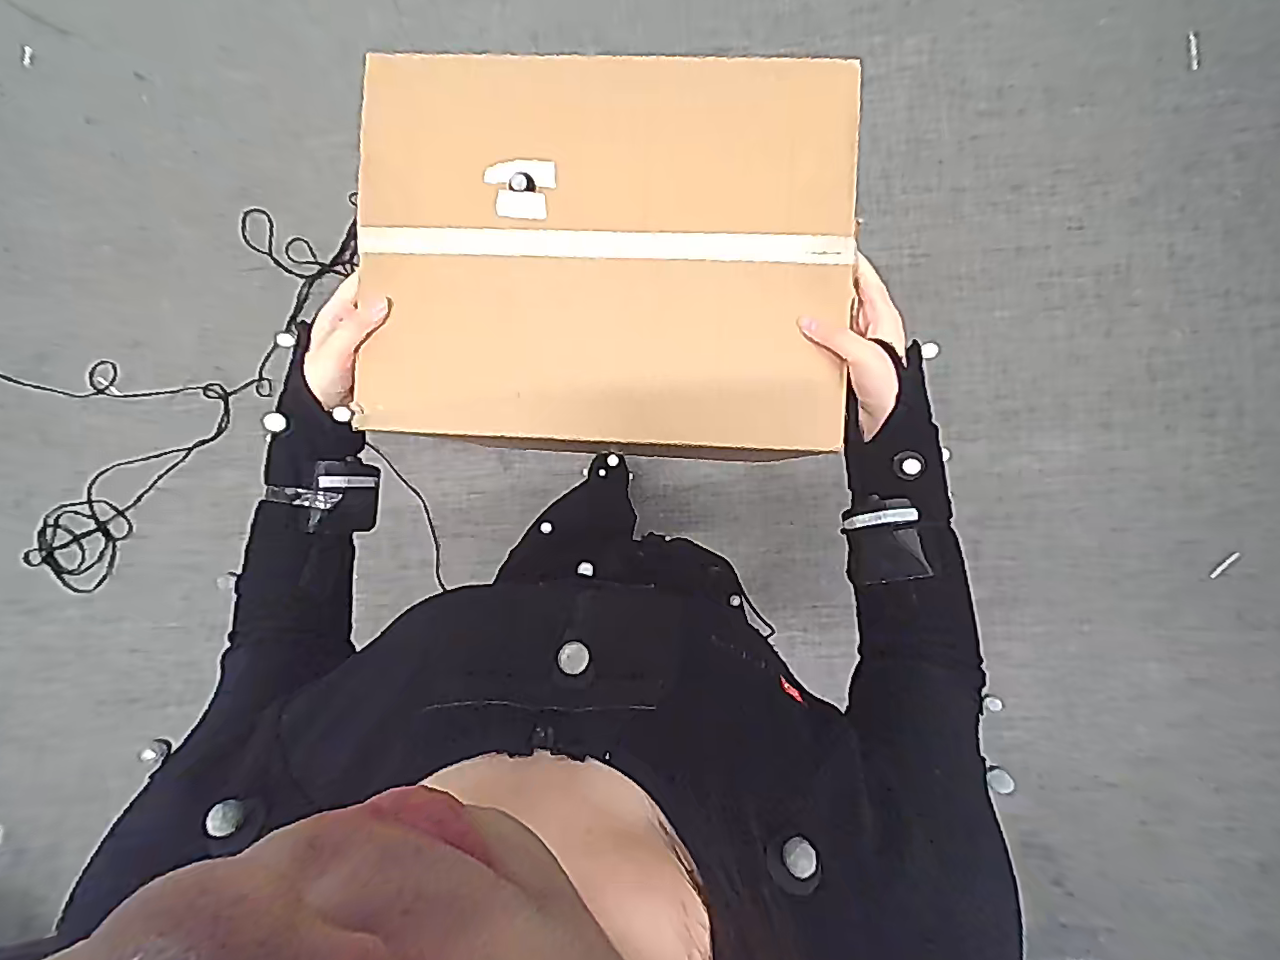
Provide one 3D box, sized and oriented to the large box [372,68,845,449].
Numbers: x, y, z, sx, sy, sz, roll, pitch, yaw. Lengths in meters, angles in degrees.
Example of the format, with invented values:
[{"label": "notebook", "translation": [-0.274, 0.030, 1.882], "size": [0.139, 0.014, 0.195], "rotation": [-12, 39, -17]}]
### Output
[{"label": "large box", "translation": [-0.021, -0.194, 0.606], "size": [0.408, 0.320, 0.320], "rotation": [3, 91, 4]}]
